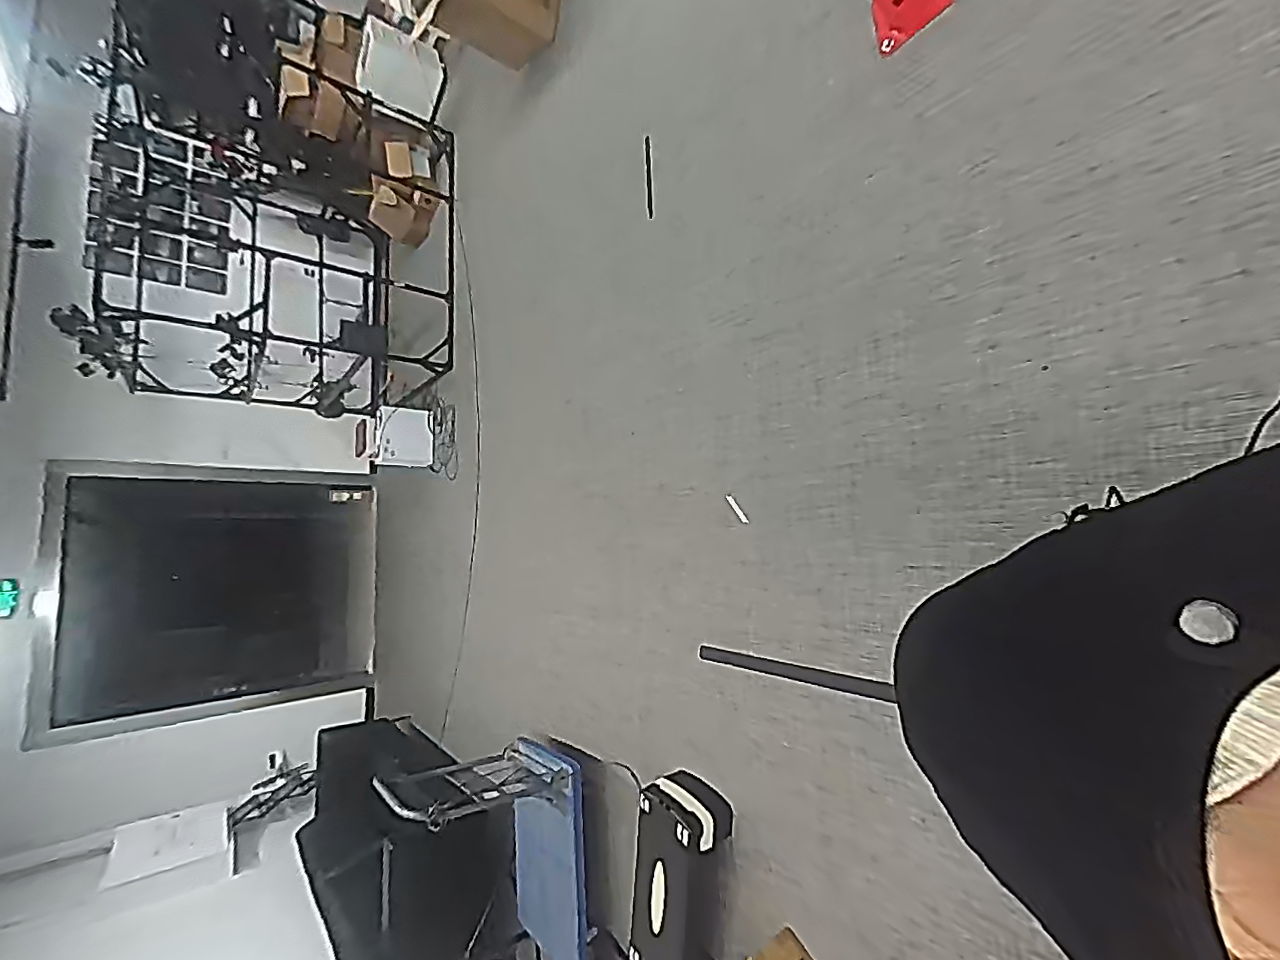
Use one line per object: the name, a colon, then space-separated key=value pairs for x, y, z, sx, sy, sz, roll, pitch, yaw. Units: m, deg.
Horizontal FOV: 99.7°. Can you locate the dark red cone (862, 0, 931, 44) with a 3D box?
dark red cone: x=0.577 y=-1.325 z=1.348 sx=0.201 sy=0.394 sz=0.202 roll=-20 pitch=72 yaw=49
